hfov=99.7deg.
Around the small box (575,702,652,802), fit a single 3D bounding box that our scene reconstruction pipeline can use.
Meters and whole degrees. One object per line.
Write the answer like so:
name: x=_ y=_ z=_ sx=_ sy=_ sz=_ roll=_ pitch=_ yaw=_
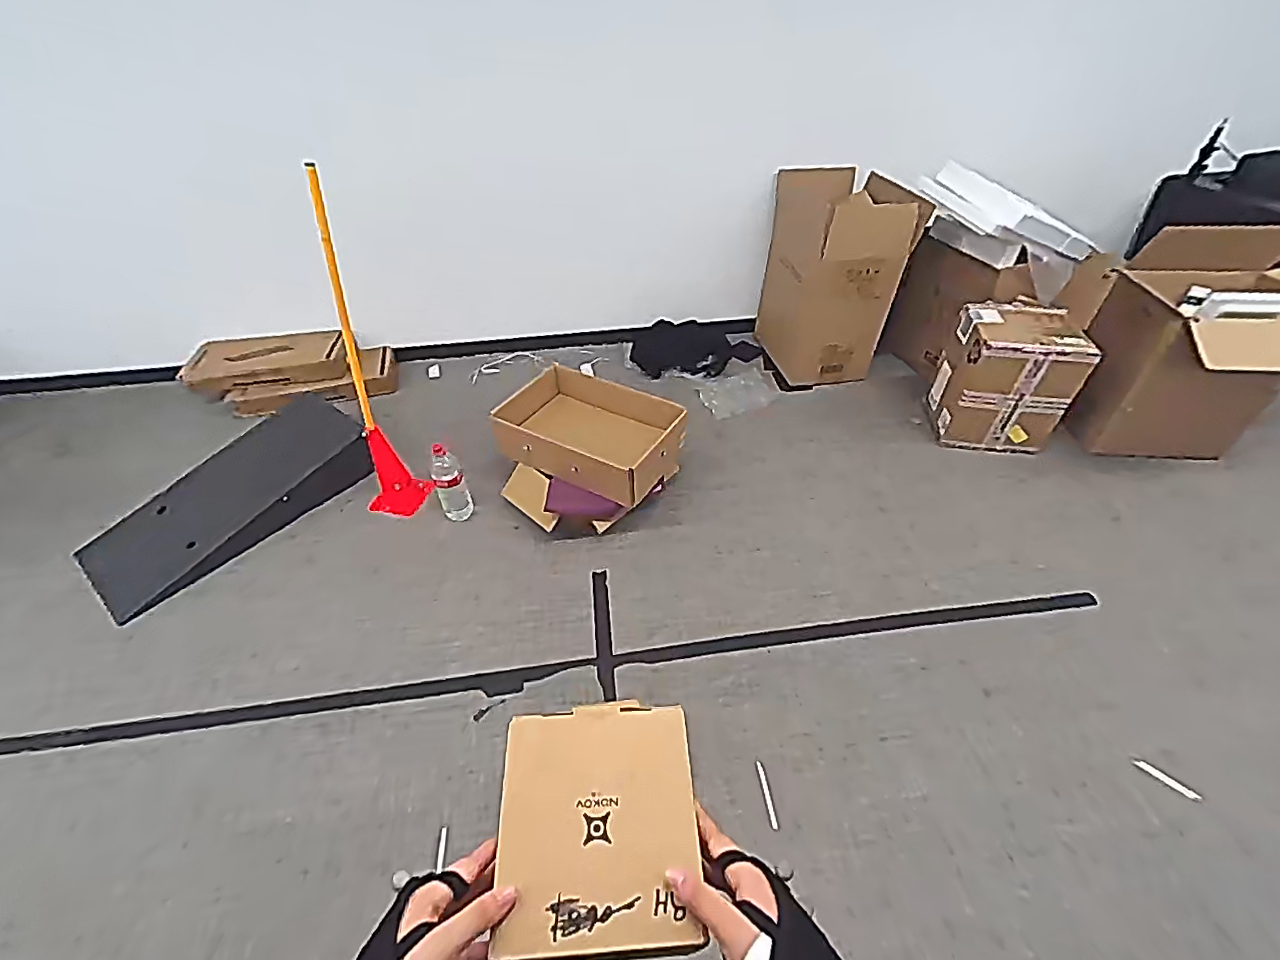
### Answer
small box: x=-0.066 y=0.688 z=1.366 sx=0.179 sy=0.176 sz=0.168 roll=-7 pitch=42 yaw=-4
